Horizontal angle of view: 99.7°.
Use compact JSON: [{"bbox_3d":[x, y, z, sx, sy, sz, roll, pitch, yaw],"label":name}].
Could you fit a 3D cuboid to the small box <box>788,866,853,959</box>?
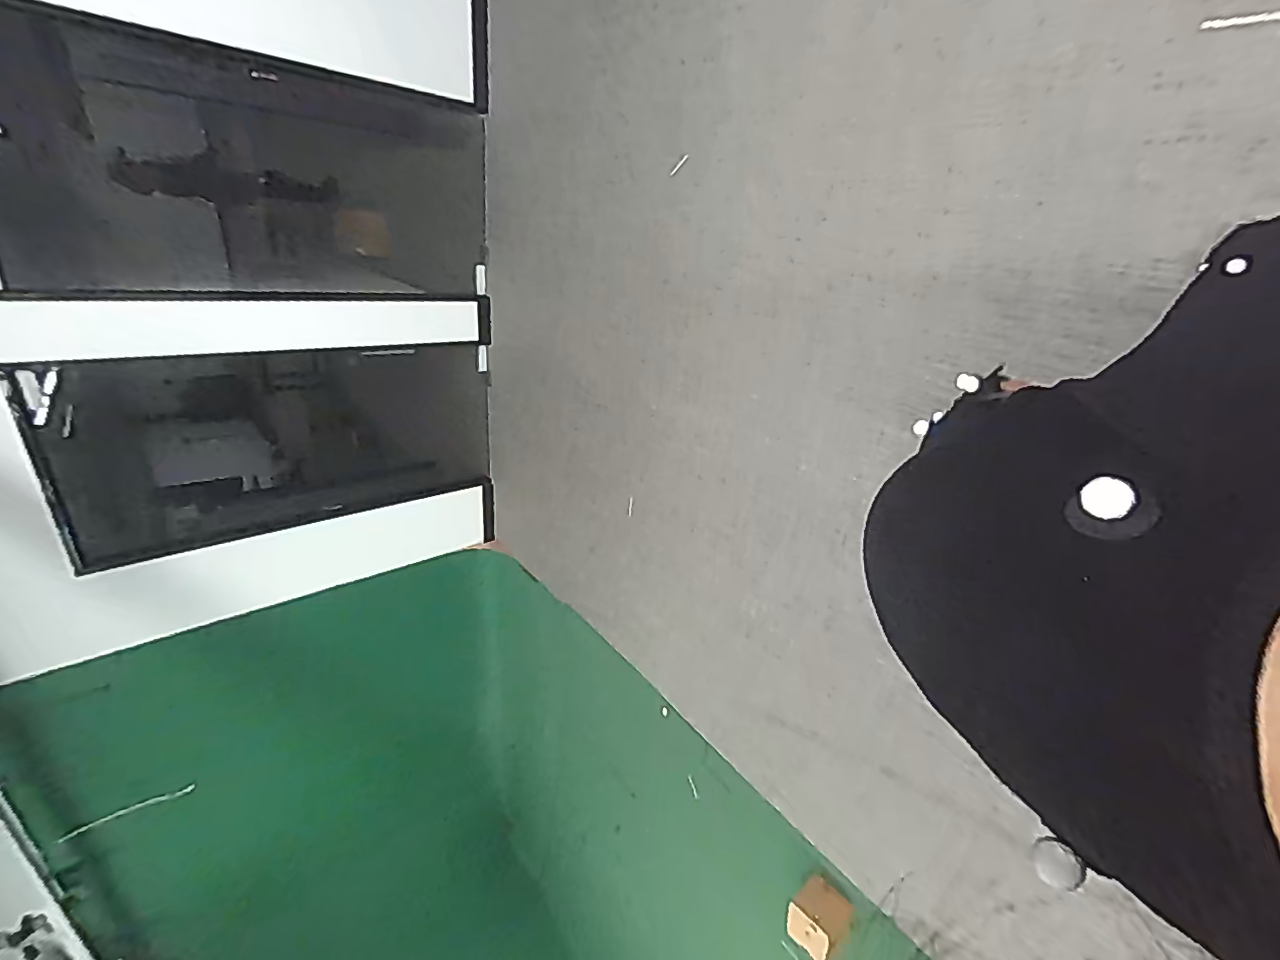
[{"bbox_3d":[0.679,1.623,2.035,0.168,0.176,0.179,20,118,46],"label":"small box"}]
